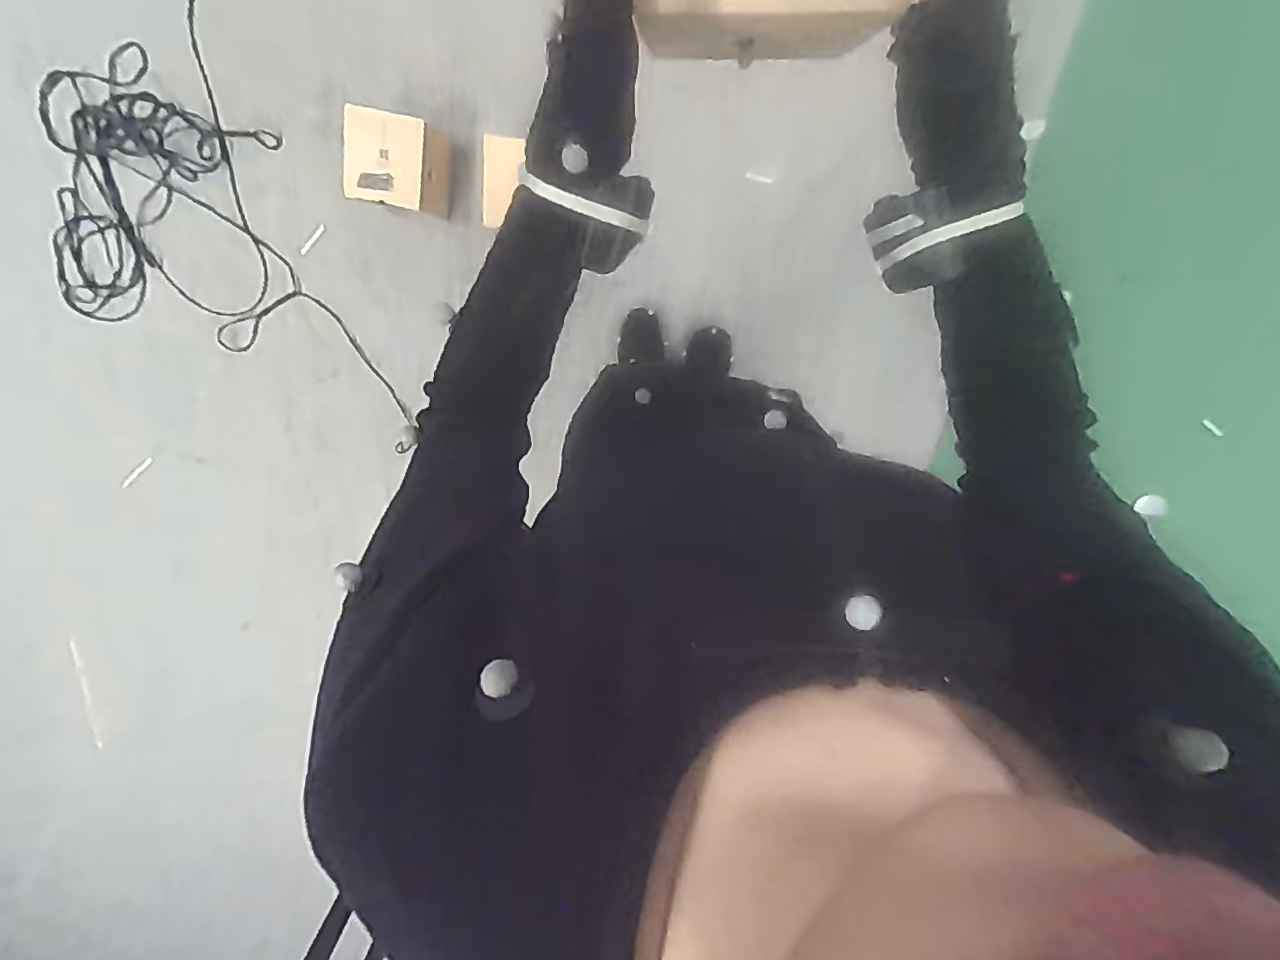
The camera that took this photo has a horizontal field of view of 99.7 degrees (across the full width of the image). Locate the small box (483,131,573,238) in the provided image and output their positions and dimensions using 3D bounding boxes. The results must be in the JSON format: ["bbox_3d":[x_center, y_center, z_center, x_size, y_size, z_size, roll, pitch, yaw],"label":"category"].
[{"bbox_3d":[-0.246,-0.653,1.212,0.168,0.176,0.179,6,110,0],"label":"small box"}]

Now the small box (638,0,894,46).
[{"bbox_3d":[0.086,-0.403,0.351,0.168,0.176,0.179,2,120,4],"label":"small box"}]

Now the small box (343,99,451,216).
[{"bbox_3d":[-0.533,-0.703,1.201,0.168,0.176,0.179,11,109,-2],"label":"small box"}]
